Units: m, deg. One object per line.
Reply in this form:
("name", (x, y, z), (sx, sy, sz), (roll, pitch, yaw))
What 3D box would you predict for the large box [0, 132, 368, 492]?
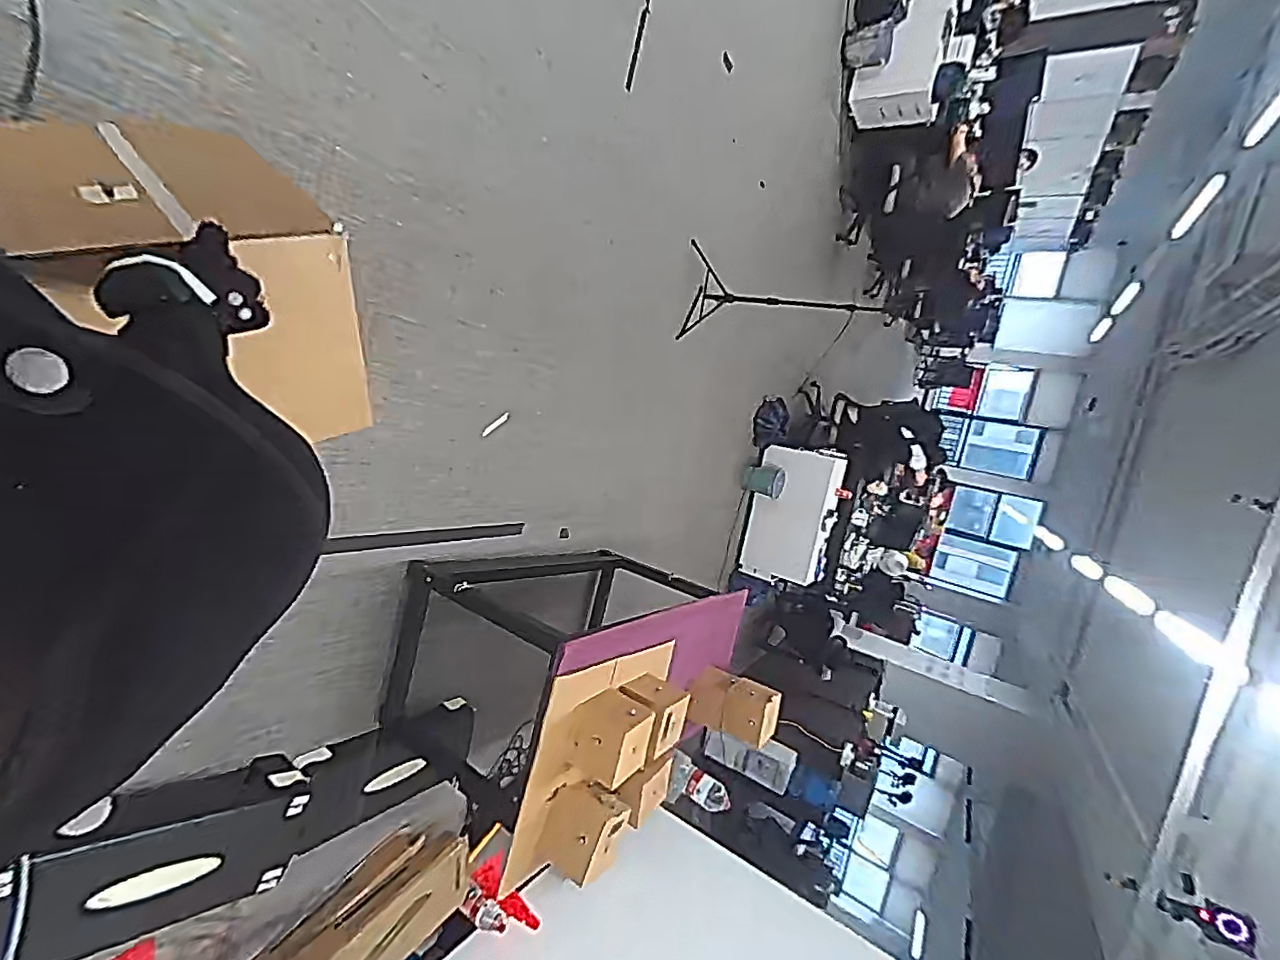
("large box", (-0.650, -0.256, 0.781), (0.320, 0.408, 0.320), (-28, 148, -37))
